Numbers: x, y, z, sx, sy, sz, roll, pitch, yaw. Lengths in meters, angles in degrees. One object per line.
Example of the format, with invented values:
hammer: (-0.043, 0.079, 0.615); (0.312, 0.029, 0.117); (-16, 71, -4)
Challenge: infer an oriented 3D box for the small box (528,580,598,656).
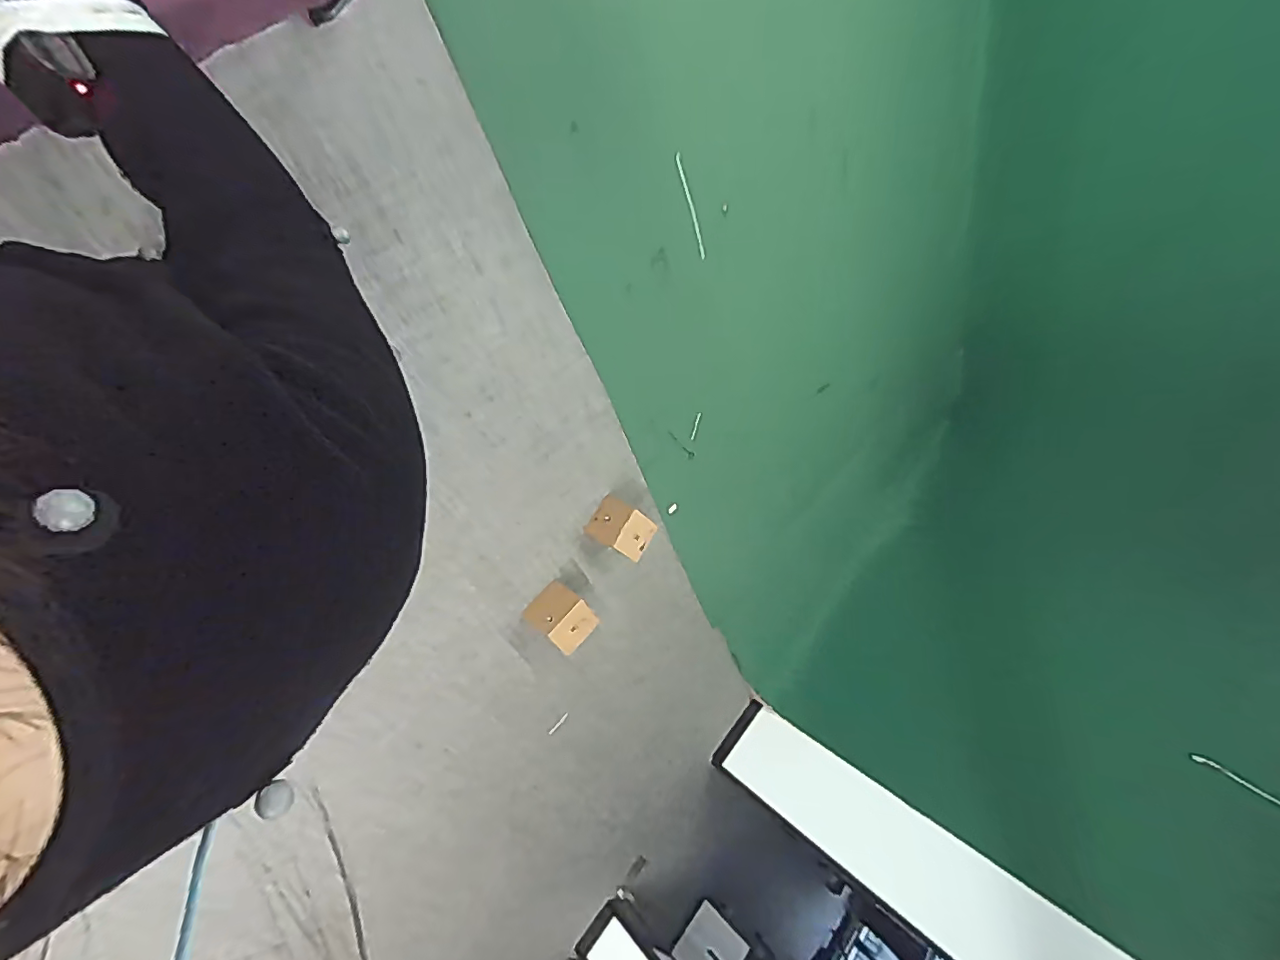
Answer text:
small box: (-0.293, 0.507, 2.006); (0.179, 0.176, 0.168); (-46, 134, -20)

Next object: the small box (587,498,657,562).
small box: (-0.072, 0.186, 2.088); (0.179, 0.176, 0.168); (42, 77, -45)
